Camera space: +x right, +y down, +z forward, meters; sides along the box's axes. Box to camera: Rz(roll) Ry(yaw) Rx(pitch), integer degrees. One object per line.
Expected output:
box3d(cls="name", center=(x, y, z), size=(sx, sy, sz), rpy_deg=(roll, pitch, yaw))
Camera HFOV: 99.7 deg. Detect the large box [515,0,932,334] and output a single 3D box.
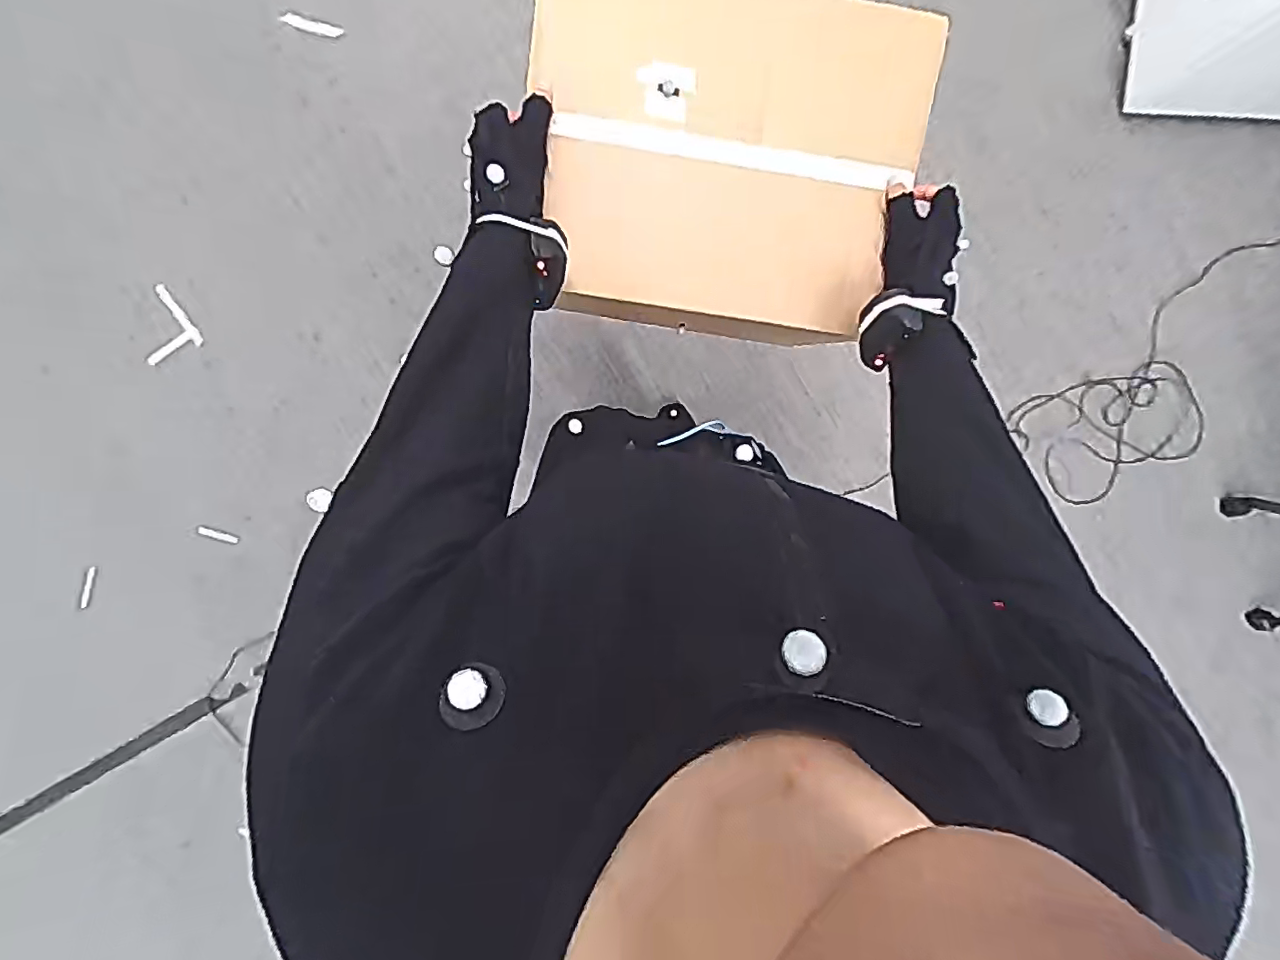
box3d(cls="large box", center=(0.077, -0.373, 0.707), size=(0.408, 0.320, 0.320), rpy_deg=(7, 102, -3))
